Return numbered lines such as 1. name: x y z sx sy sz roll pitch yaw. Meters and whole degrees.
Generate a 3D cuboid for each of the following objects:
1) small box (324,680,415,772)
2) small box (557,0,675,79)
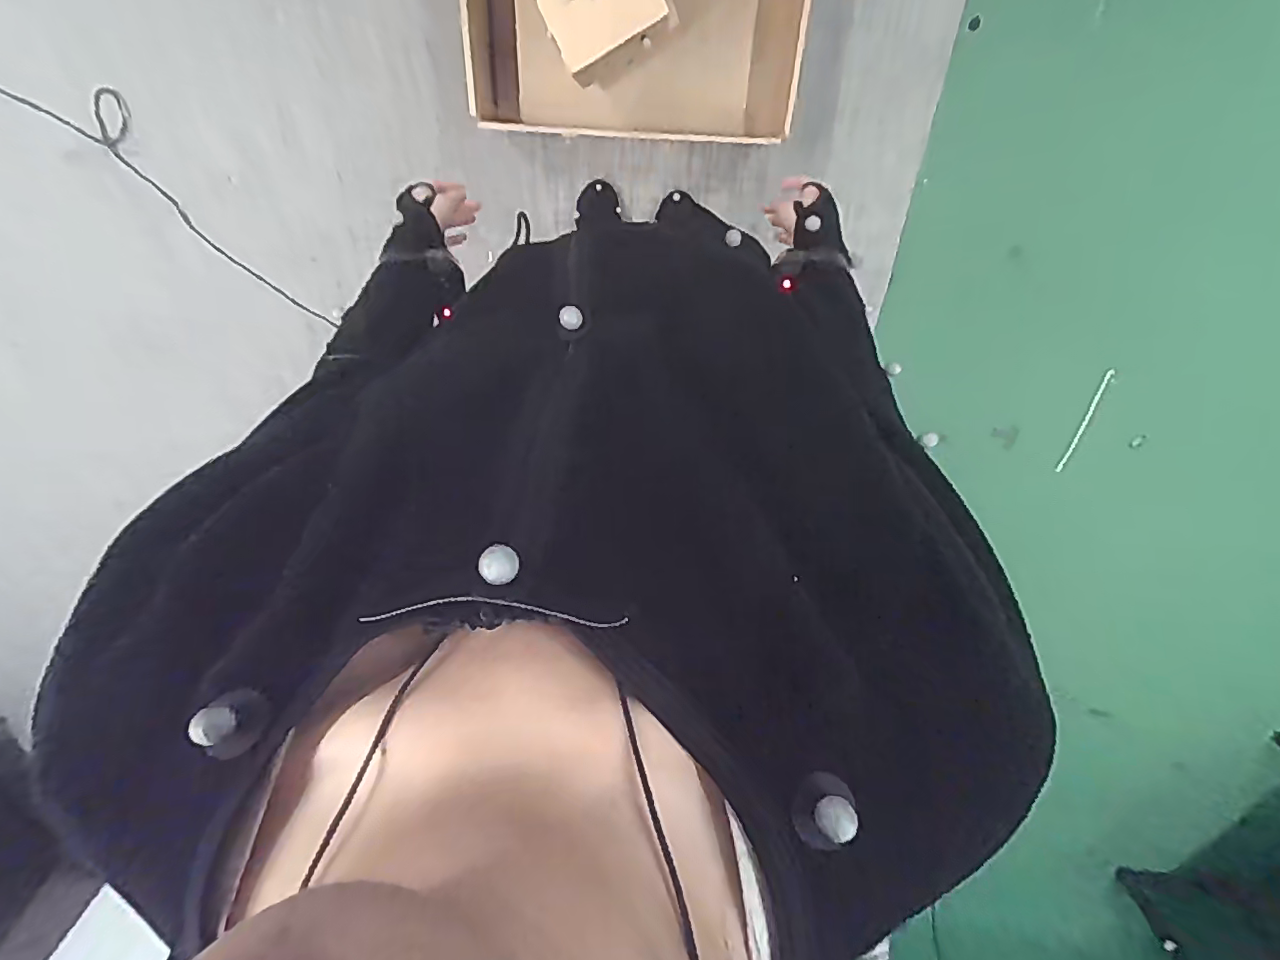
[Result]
1. small box: -0.827 0.757 1.671 0.168 0.176 0.179 34 117 -17
2. small box: -0.045 -0.869 0.984 0.179 0.176 0.168 -23 117 15
